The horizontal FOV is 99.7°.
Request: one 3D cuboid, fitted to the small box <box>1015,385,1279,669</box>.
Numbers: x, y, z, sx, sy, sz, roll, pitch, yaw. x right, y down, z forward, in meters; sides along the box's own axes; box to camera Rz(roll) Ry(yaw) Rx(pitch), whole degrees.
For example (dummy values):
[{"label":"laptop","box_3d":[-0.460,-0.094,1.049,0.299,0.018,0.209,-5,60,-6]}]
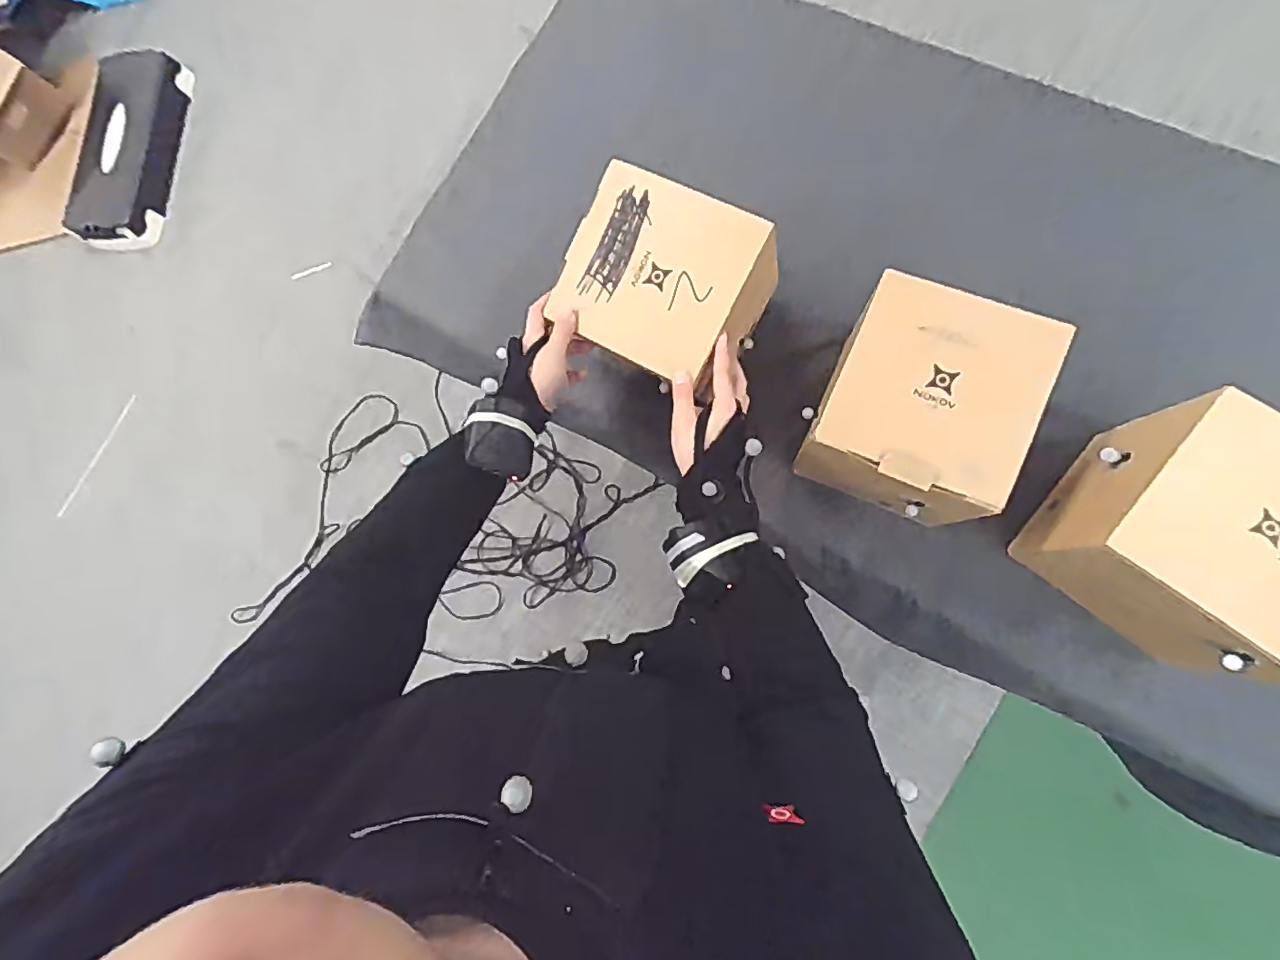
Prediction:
[{"label":"small box","box_3d":[0.498,0.050,0.491,0.179,0.176,0.168,38,89,12]}]
